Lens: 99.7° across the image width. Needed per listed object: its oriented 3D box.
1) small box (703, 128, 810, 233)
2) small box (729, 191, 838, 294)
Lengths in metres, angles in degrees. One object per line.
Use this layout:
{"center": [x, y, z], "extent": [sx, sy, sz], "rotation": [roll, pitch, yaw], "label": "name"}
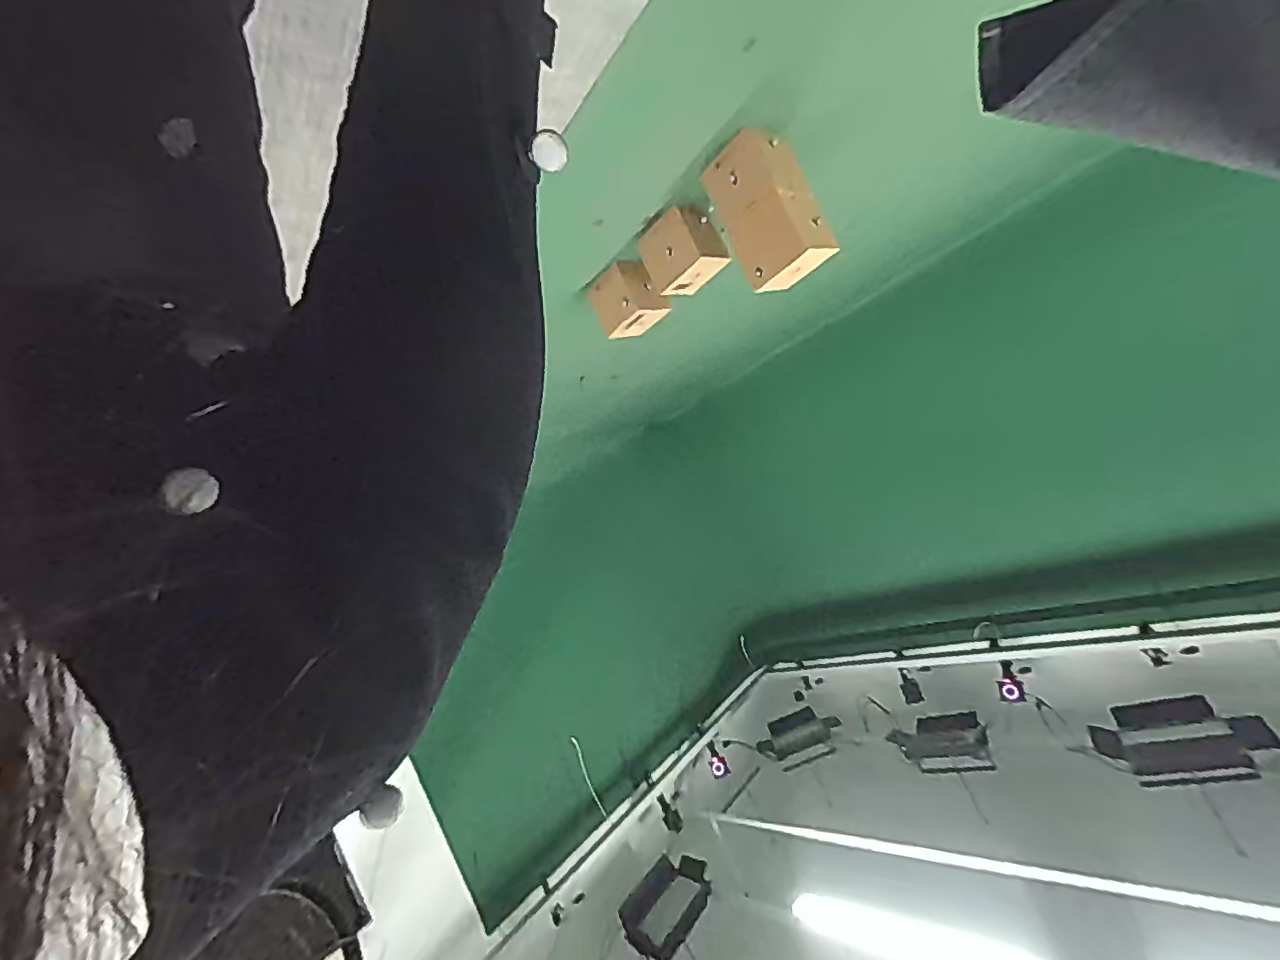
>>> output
{"center": [0.289, -0.746, 1.363], "extent": [0.179, 0.176, 0.168], "rotation": [-21, 176, -43], "label": "small box"}
{"center": [0.356, -0.597, 1.359], "extent": [0.168, 0.176, 0.179], "rotation": [-23, 177, -41], "label": "small box"}
